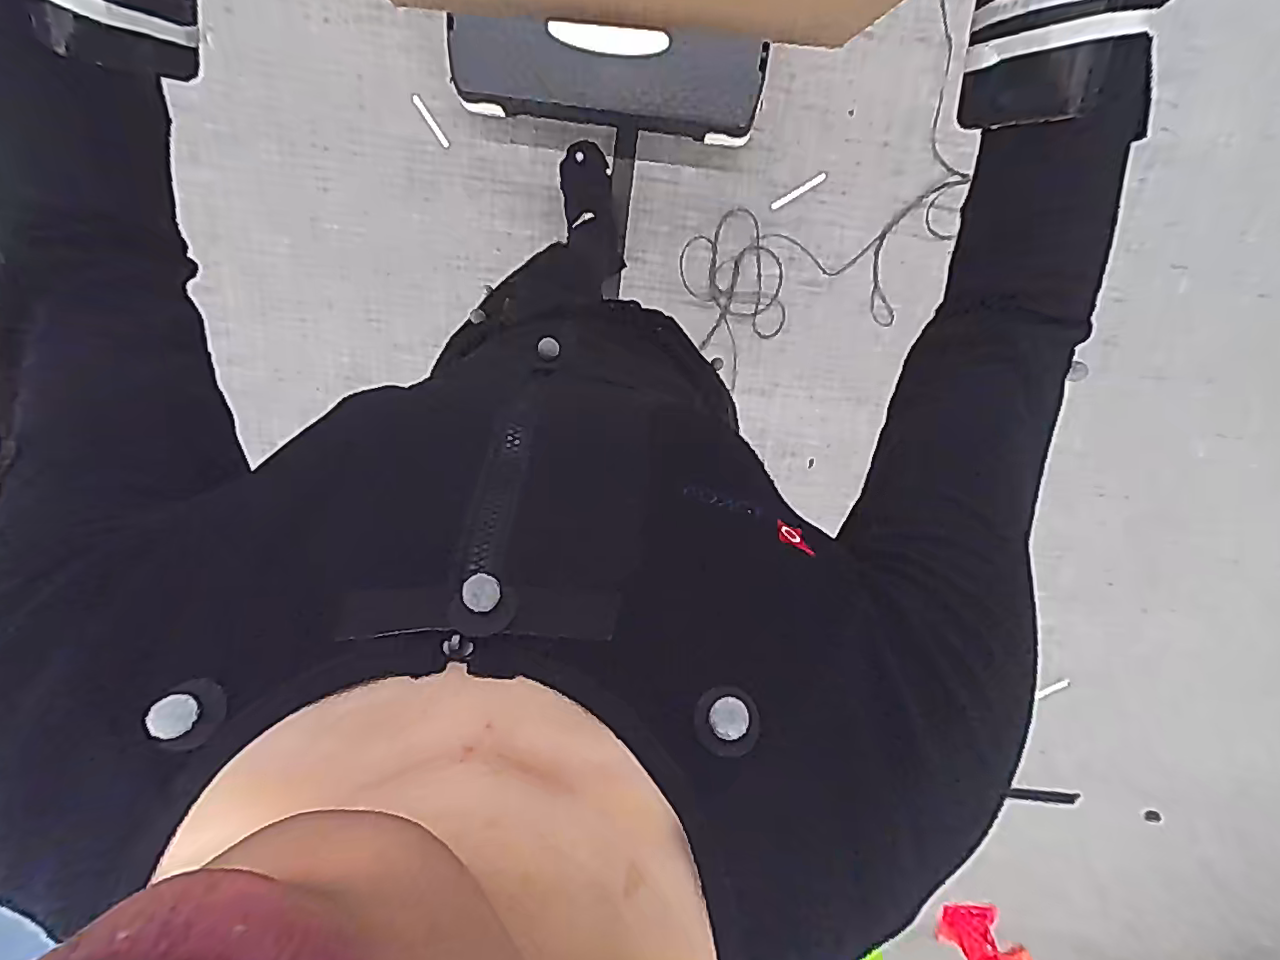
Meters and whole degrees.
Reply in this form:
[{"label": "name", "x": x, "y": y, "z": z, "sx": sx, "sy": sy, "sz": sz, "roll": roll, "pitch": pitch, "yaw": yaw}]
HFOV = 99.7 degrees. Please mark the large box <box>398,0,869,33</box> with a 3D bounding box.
[{"label": "large box", "x": -0.006, "y": -0.485, "z": 0.288, "sx": 0.408, "sy": 0.320, "sz": 0.320, "roll": 2, "pitch": 117, "yaw": -3}]
